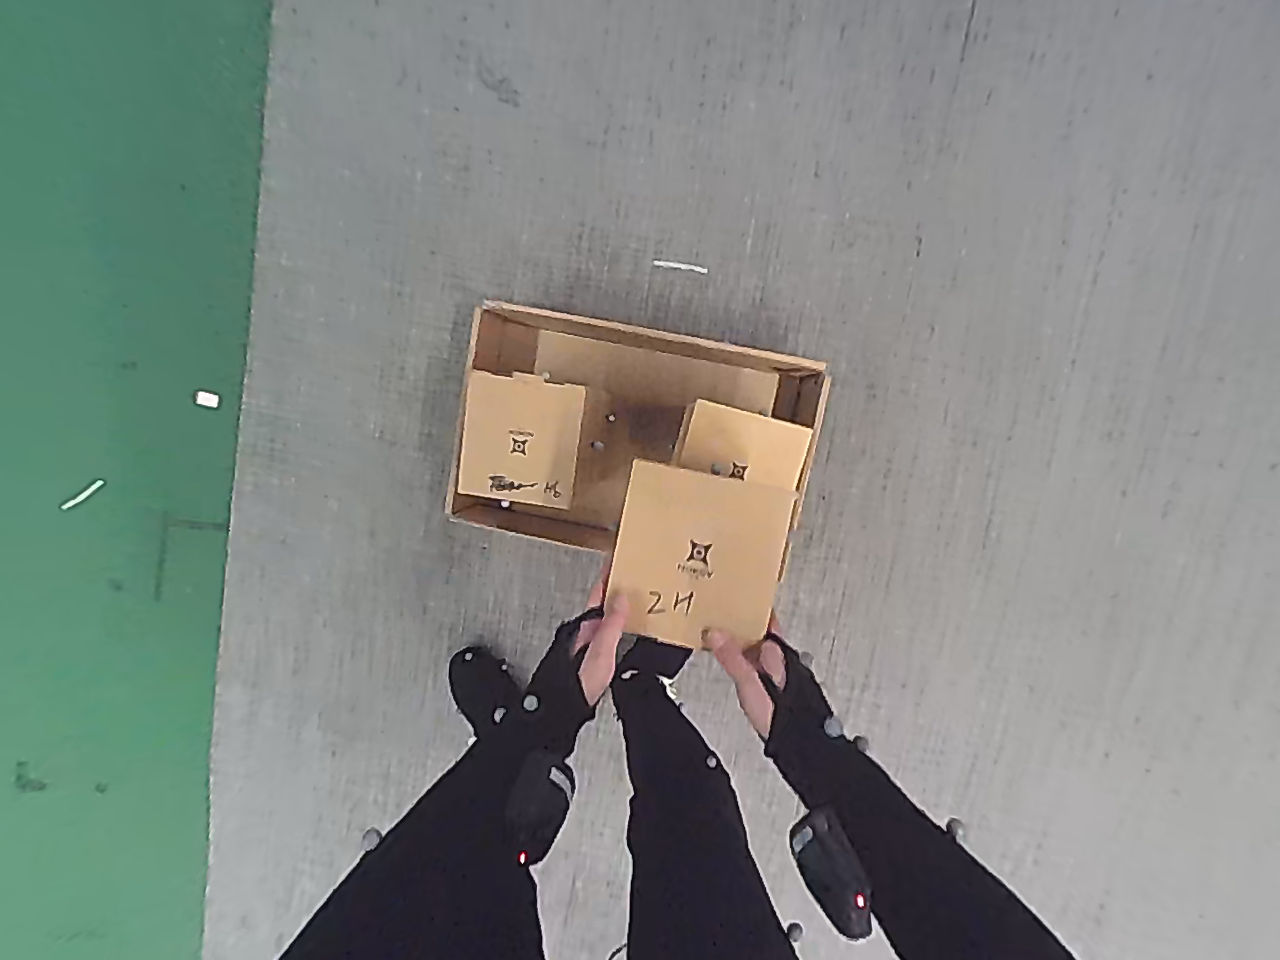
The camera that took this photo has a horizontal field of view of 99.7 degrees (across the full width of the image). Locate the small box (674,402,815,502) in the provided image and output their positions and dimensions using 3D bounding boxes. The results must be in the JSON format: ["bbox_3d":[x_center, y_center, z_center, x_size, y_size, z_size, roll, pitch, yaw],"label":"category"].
[{"bbox_3d":[0.141,-0.013,0.821,0.168,0.176,0.179,15,98,1],"label":"small box"}]

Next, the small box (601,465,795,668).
[{"bbox_3d":[0.062,0.085,0.616,0.168,0.176,0.179,12,92,4],"label":"small box"}]

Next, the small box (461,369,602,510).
[{"bbox_3d":[-0.155,-0.063,0.830,0.168,0.176,0.179,9,96,3],"label":"small box"}]
